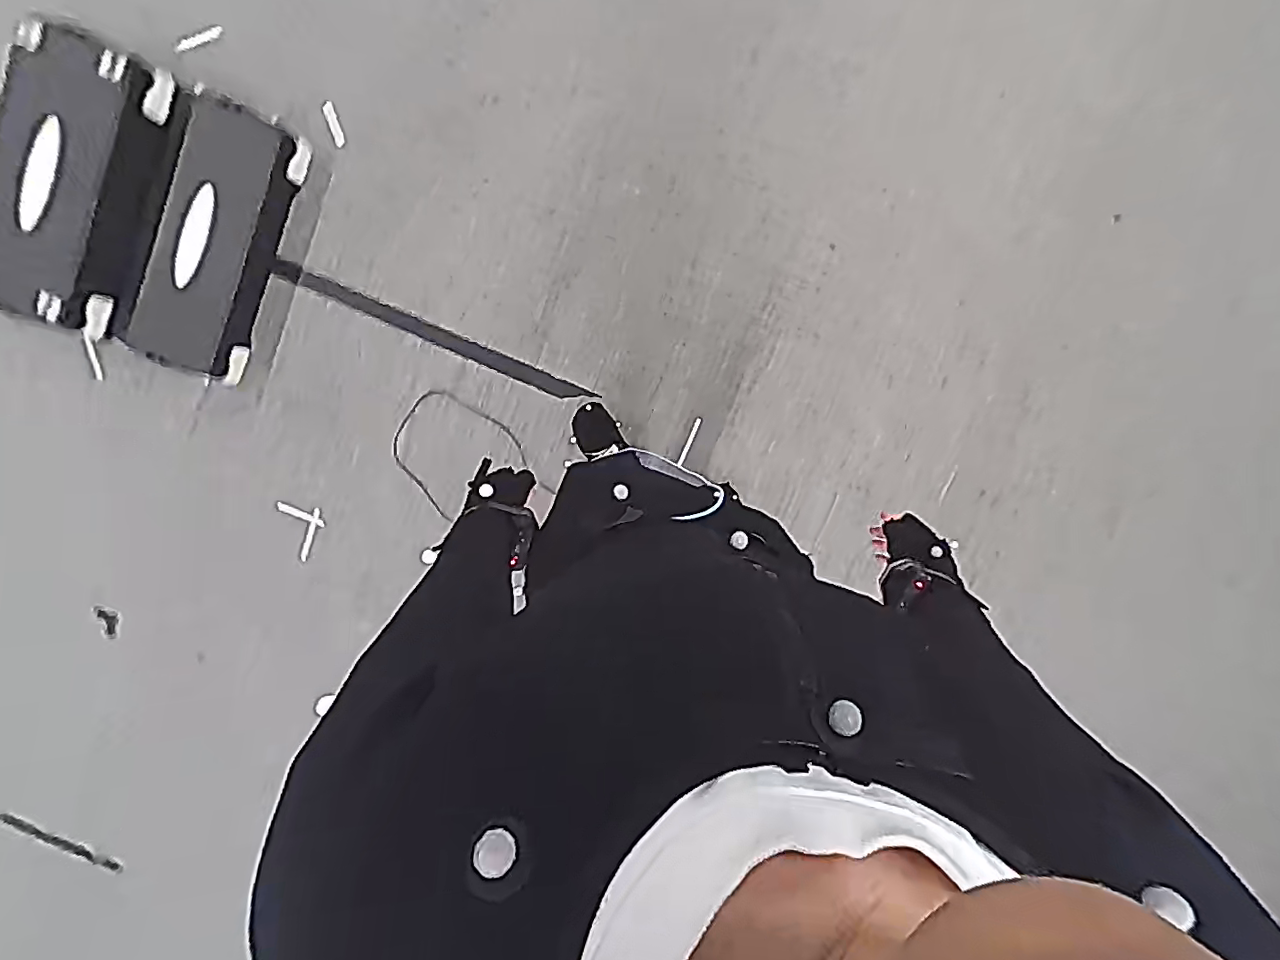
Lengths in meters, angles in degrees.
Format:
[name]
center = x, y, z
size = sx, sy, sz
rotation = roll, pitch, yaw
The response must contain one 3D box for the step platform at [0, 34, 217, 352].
[step platform]
center = -1.332, -0.679, 1.335
size = 0.286, 0.204, 0.684
rotation = 22, 95, -1
